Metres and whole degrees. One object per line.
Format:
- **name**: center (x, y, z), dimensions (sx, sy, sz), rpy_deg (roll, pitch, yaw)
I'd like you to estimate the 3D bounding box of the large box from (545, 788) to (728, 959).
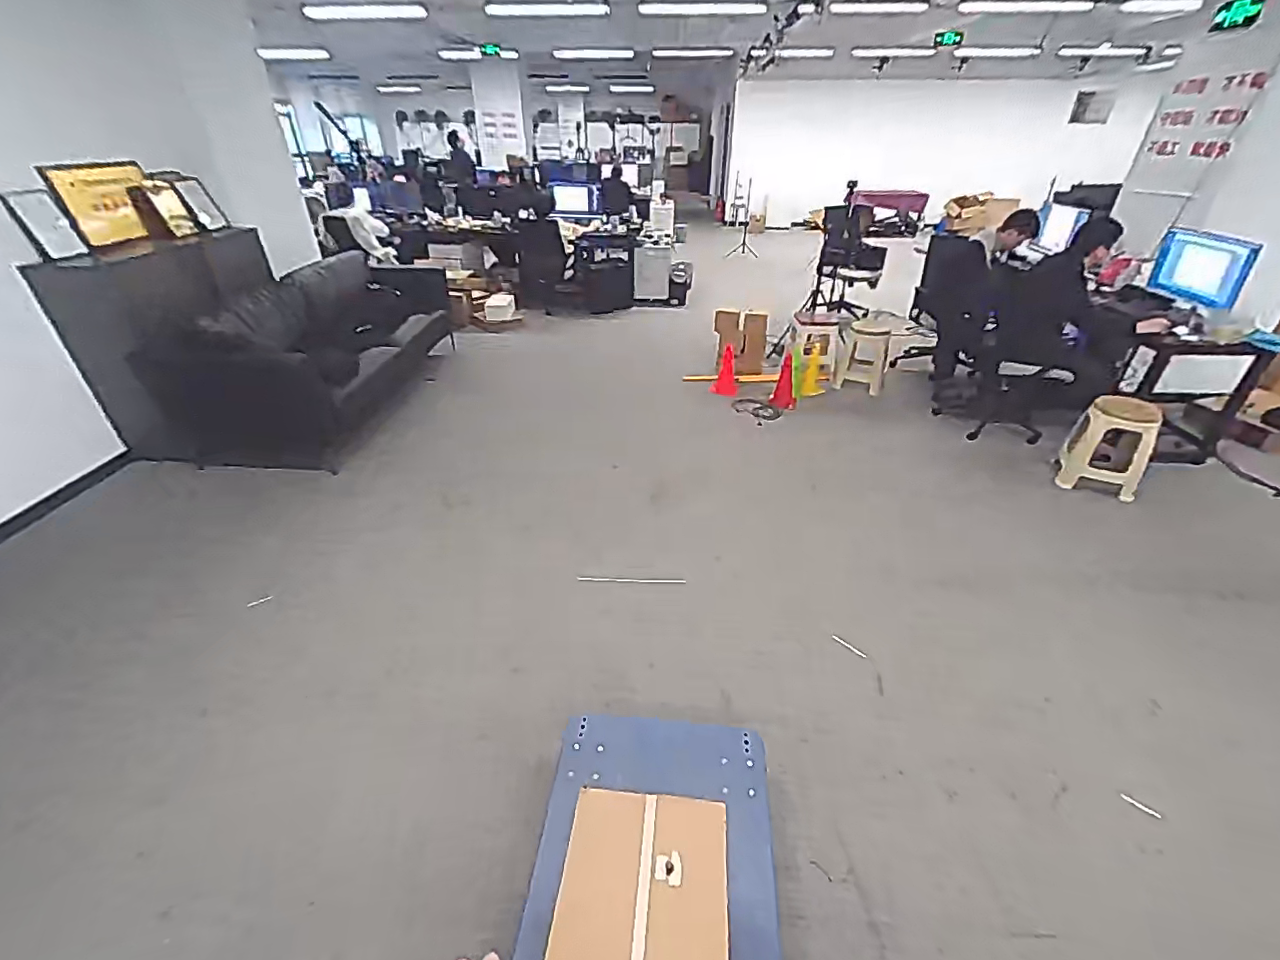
- **large box**: center (0.004, 0.905, 1.067), dimensions (0.320, 0.320, 0.408), rpy_deg (4, 31, 5)
